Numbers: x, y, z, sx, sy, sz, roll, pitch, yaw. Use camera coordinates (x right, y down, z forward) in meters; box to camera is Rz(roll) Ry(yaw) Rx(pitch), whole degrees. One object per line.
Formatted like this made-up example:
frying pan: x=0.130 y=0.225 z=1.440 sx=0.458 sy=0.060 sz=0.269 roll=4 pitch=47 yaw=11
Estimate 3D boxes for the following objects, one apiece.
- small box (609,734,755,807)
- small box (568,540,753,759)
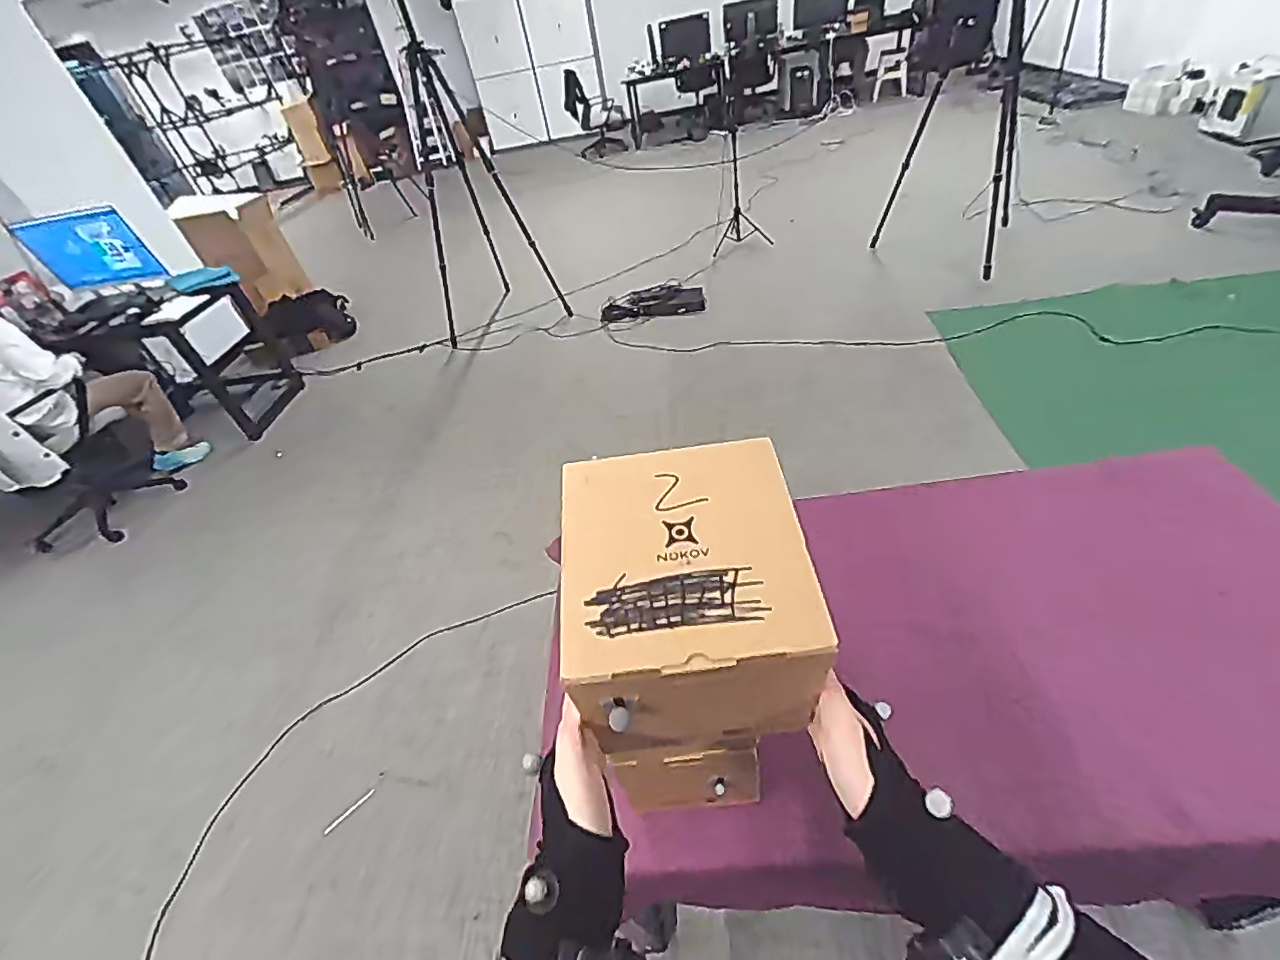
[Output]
small box: x=0.056 y=0.313 z=0.718 sx=0.168 sy=0.176 sz=0.179 roll=-8 pitch=41 yaw=4
small box: x=0.026 y=0.194 z=0.611 sx=0.179 sy=0.176 sz=0.168 roll=-9 pitch=41 yaw=2
